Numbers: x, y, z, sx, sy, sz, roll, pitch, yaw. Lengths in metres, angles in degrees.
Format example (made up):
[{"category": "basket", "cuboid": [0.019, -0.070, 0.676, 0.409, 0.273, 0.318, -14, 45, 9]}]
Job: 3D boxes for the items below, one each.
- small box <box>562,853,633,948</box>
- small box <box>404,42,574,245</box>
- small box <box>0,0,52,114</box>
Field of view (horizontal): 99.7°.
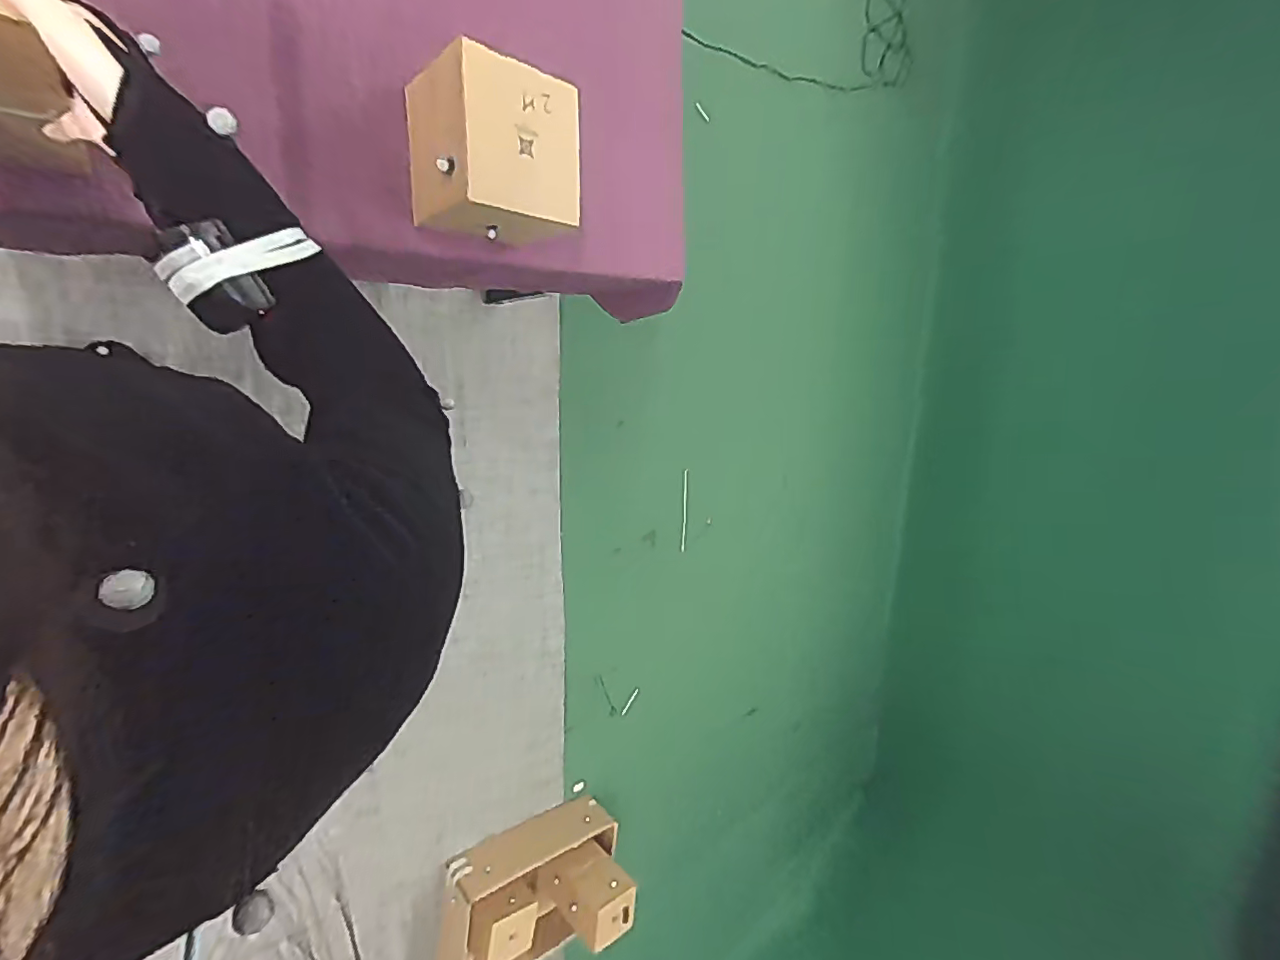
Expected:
[{"category": "small box", "cuboid": [-0.152, 1.476, 1.914, 0.179, 0.176, 0.168, 0, 99, -44]}, {"category": "small box", "cuboid": [-0.206, -0.434, 0.739, 0.168, 0.176, 0.179, -10, 105, -43]}, {"category": "small box", "cuboid": [-0.451, -0.333, 0.288, 0.168, 0.176, 0.179, -11, 111, -45]}]
